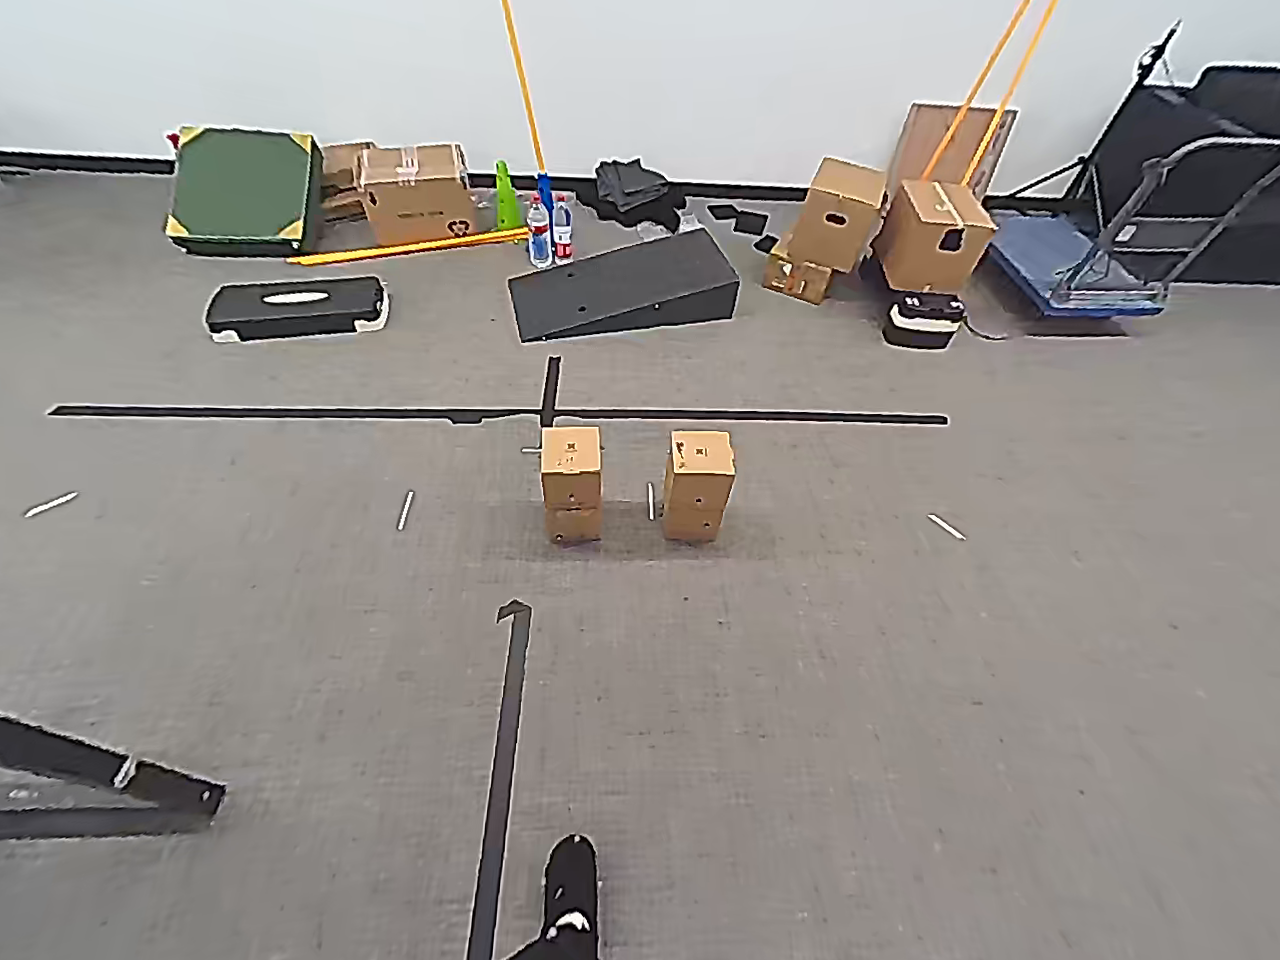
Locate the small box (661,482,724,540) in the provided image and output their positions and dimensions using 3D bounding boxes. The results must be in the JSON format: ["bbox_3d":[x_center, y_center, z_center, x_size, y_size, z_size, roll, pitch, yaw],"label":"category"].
[{"bbox_3d":[0.164,0.078,1.730,0.179,0.176,0.168,3,51,-2],"label":"small box"}]

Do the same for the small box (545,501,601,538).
[{"bbox_3d":[-0.210,0.071,1.702,0.168,0.176,0.179,-3,51,-7],"label":"small box"}]

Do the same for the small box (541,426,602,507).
[{"bbox_3d":[-0.198,-0.039,1.579,0.168,0.176,0.179,-1,51,-6],"label":"small box"}]

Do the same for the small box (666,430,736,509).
[{"bbox_3d":[0.174,-0.026,1.605,0.179,0.176,0.168,3,50,-3],"label":"small box"}]
